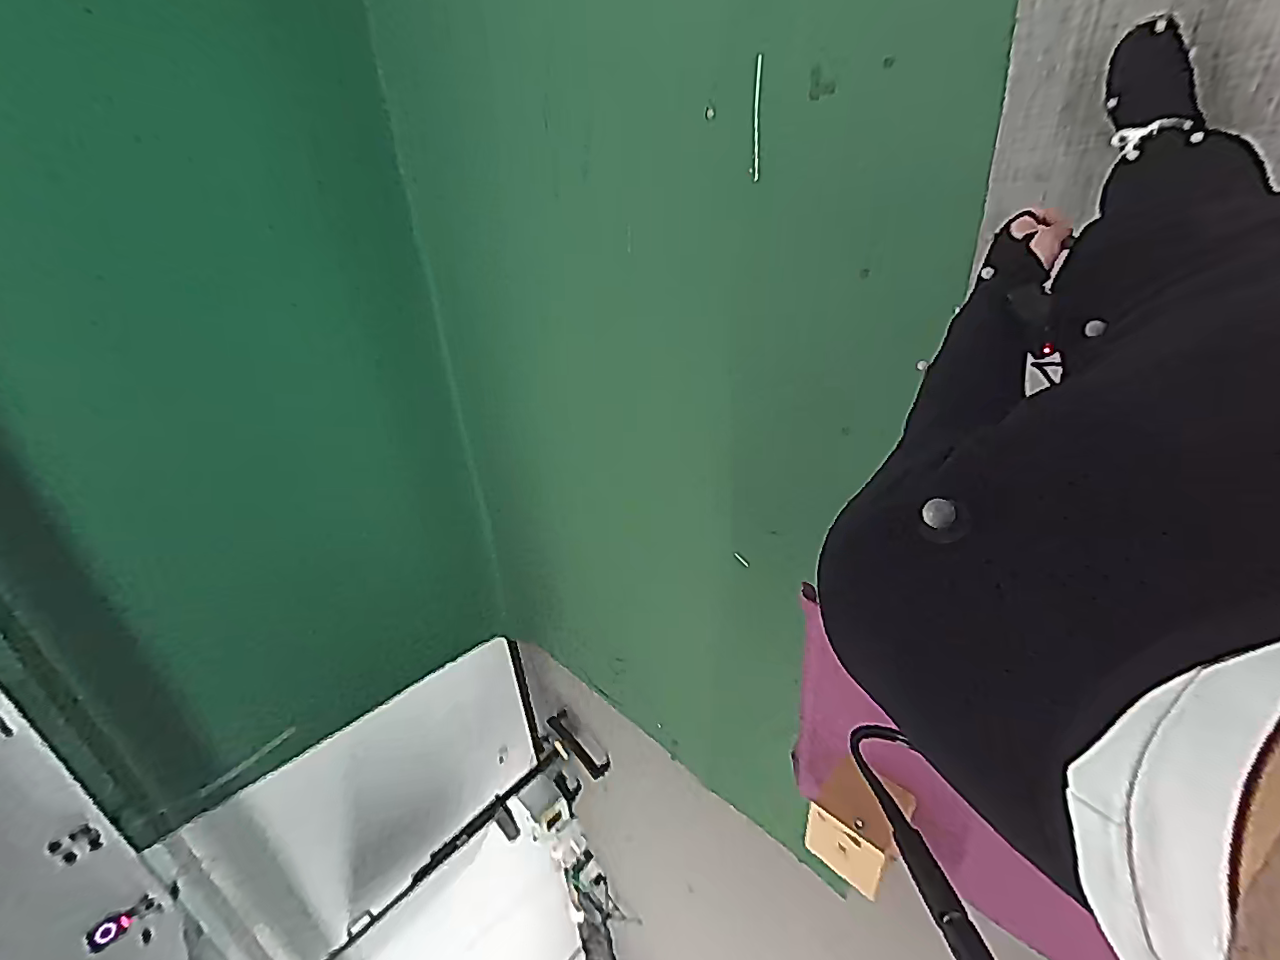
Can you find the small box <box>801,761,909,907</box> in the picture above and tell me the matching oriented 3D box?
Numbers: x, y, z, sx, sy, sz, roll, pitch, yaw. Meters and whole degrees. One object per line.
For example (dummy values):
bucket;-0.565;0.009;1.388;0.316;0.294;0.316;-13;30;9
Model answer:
small box;0.484;0.787;1.218;0.168;0.176;0.179;21;126;39
